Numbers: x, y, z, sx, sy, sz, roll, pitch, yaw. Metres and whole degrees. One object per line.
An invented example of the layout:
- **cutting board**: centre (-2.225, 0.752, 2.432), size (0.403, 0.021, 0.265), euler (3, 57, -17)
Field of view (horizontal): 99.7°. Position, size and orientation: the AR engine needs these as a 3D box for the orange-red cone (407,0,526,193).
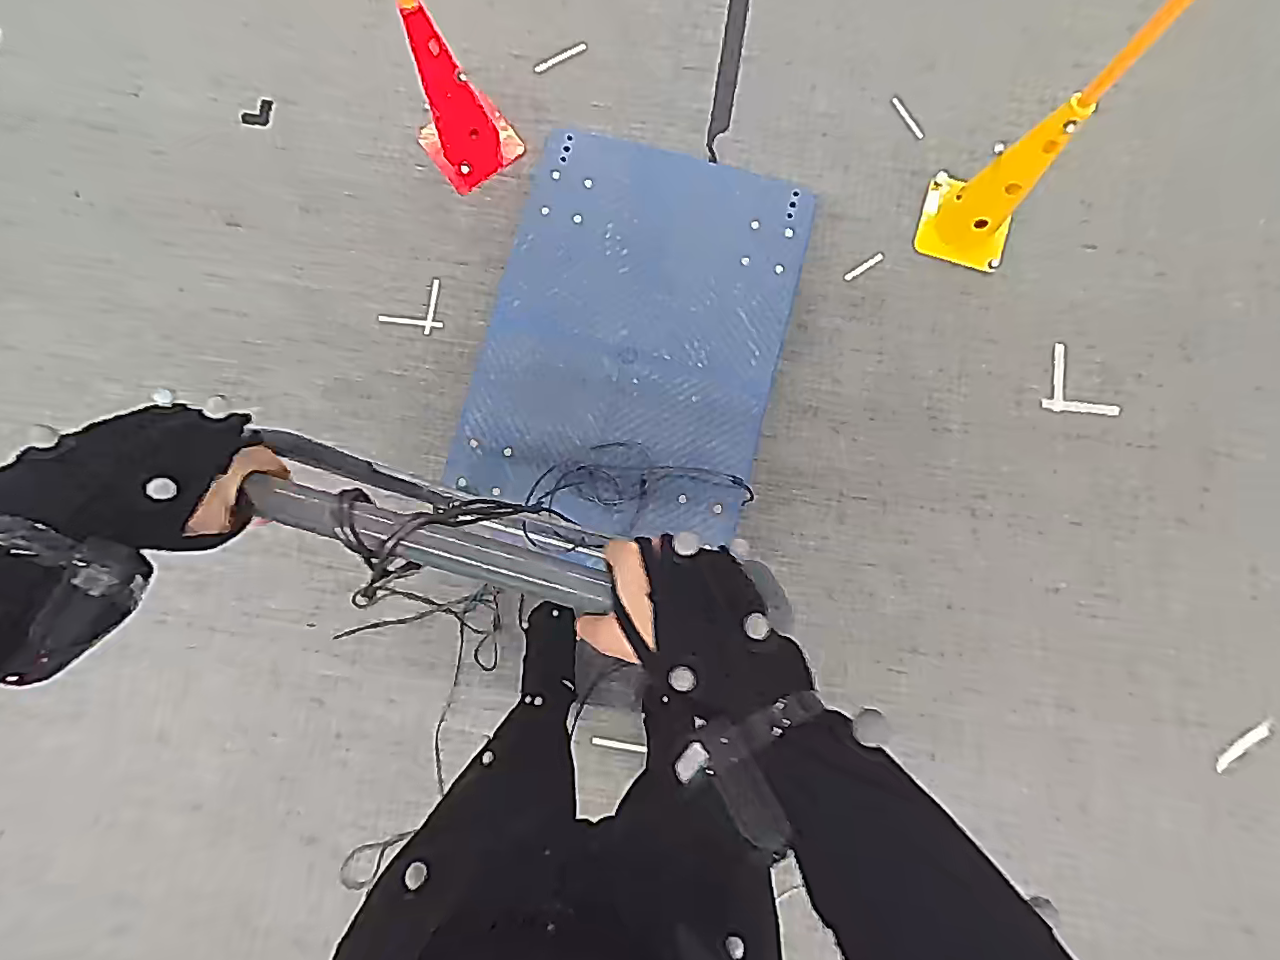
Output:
- **orange-red cone**: centre (-0.397, -0.828, 1.134), size (0.199, 0.360, 0.198), euler (-36, 86, -4)
